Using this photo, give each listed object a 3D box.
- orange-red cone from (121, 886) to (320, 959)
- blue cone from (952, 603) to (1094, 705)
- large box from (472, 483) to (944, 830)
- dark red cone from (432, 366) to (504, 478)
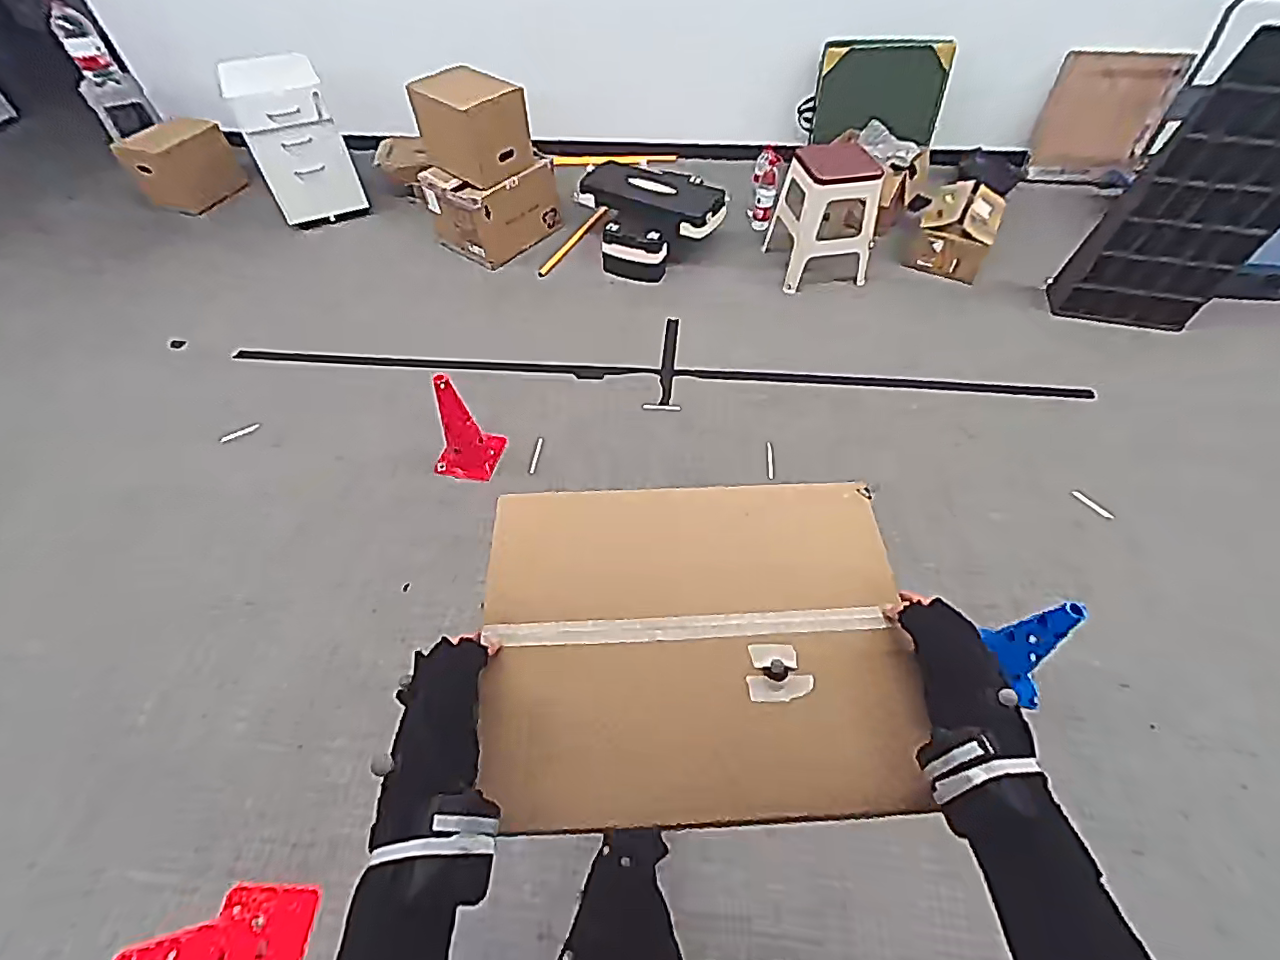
[{"bbox_3d":[-0.771,0.844,0.948,0.198,0.360,0.199,1,54,3],"label":"orange-red cone"},{"bbox_3d":[0.926,0.386,1.285,0.192,0.380,0.193,7,53,5],"label":"blue cone"},{"bbox_3d":[0.049,0.221,0.649,0.408,0.320,0.320,-2,57,-2],"label":"large box"},{"bbox_3d":[-0.582,-0.195,1.708,0.201,0.394,0.202,9,53,6],"label":"dark red cone"}]
